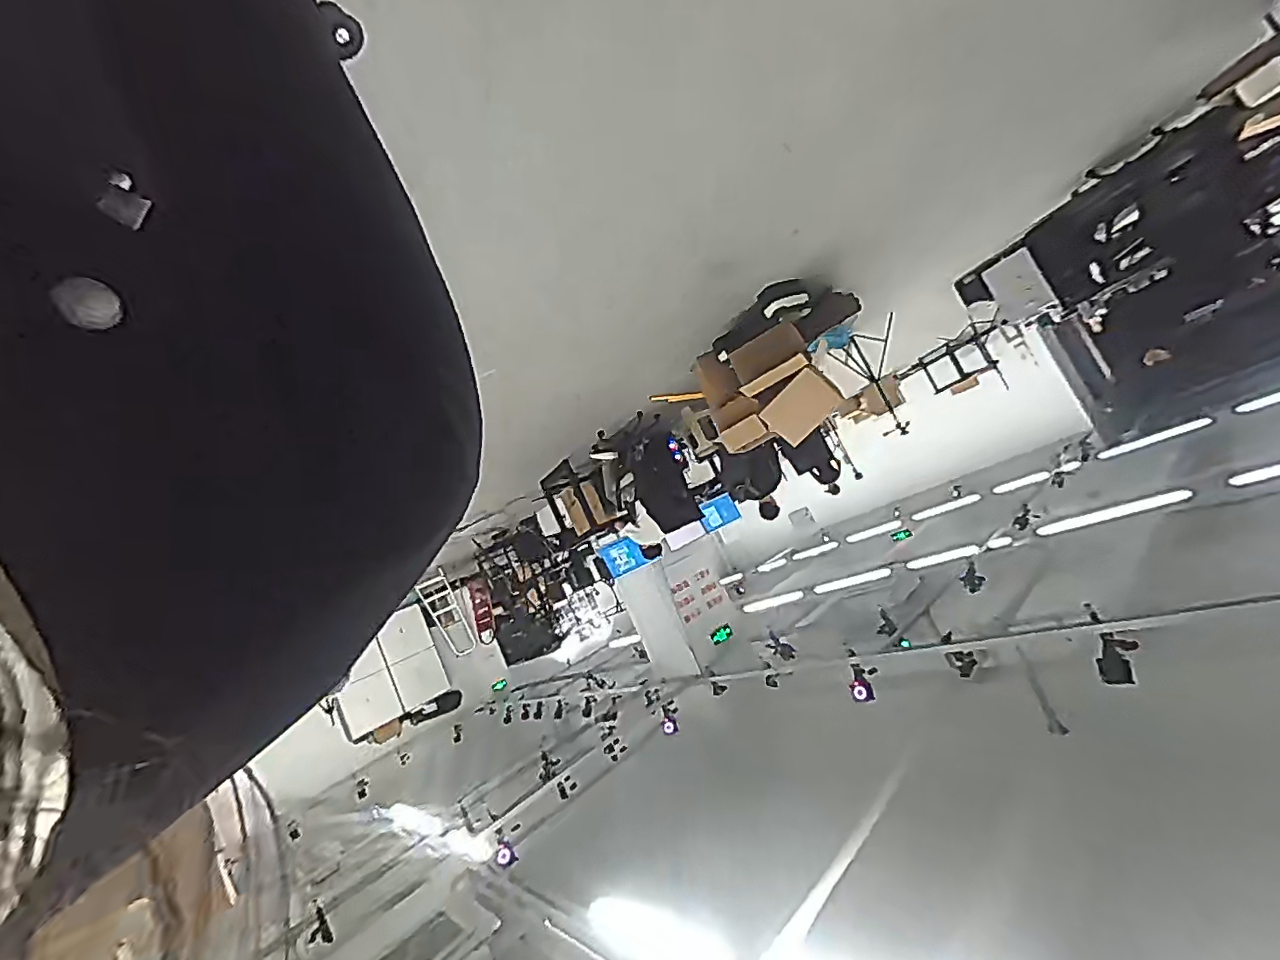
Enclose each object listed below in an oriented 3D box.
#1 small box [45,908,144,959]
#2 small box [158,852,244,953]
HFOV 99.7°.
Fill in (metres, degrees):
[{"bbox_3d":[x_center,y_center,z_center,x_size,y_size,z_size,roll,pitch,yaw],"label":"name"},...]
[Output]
[{"bbox_3d":[-1.584,1.399,1.568,0.168,0.176,0.179,-18,169,-39],"label":"small box"},{"bbox_3d":[-1.392,1.329,1.716,0.179,0.176,0.168,-19,168,-35],"label":"small box"}]
